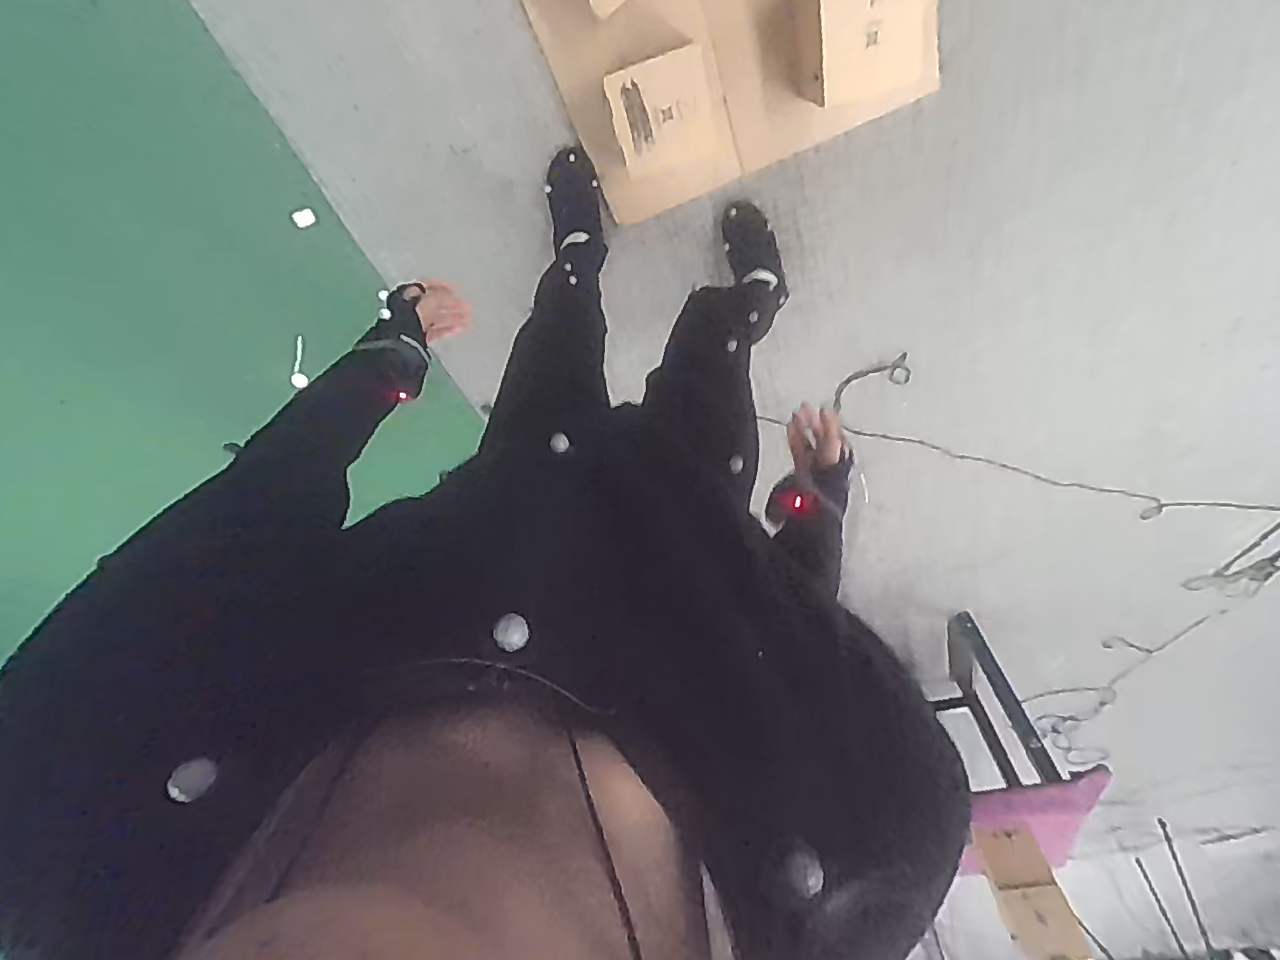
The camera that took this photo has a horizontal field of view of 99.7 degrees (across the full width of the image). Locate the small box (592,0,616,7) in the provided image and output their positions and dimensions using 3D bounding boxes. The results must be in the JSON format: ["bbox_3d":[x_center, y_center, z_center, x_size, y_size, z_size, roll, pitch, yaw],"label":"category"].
[{"bbox_3d":[-0.044,-0.888,0.846,0.179,0.176,0.168,-30,125,21],"label":"small box"}]

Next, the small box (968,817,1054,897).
[{"bbox_3d":[1.156,1.183,1.698,0.168,0.176,0.179,-18,128,14],"label":"small box"}]

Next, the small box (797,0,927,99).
[{"bbox_3d":[0.375,-0.791,0.930,0.168,0.176,0.179,-12,129,8],"label":"small box"}]

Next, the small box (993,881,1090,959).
[{"bbox_3d":[1.153,1.282,1.567,0.168,0.176,0.179,-16,128,13],"label":"small box"}]
